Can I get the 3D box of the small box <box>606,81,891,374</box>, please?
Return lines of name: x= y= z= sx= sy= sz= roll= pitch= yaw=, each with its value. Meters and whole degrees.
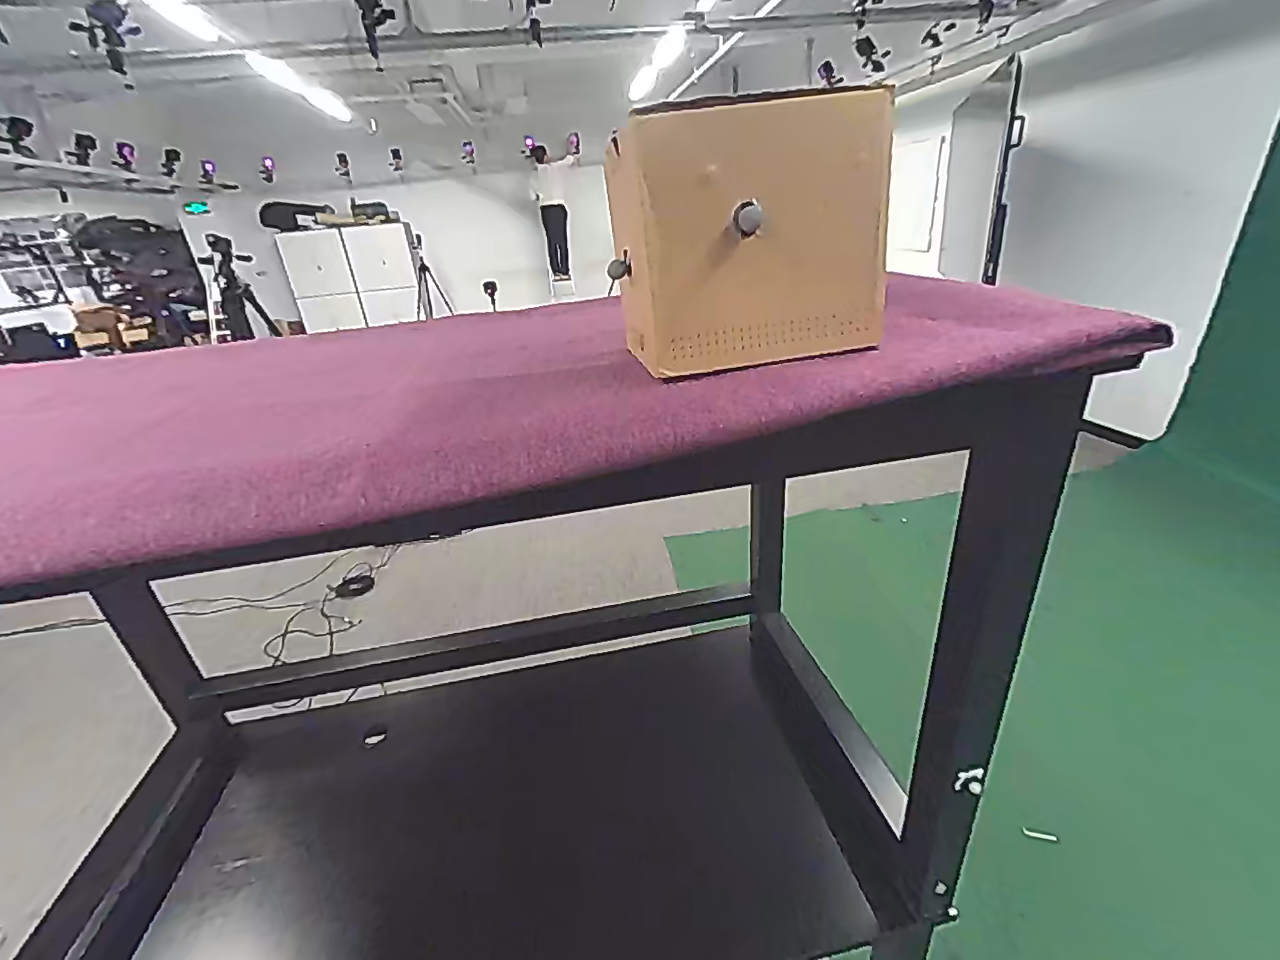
small box: x=0.077 y=-0.190 z=0.438 sx=0.179 sy=0.176 sz=0.168 roll=-10 pitch=24 yaw=-5
